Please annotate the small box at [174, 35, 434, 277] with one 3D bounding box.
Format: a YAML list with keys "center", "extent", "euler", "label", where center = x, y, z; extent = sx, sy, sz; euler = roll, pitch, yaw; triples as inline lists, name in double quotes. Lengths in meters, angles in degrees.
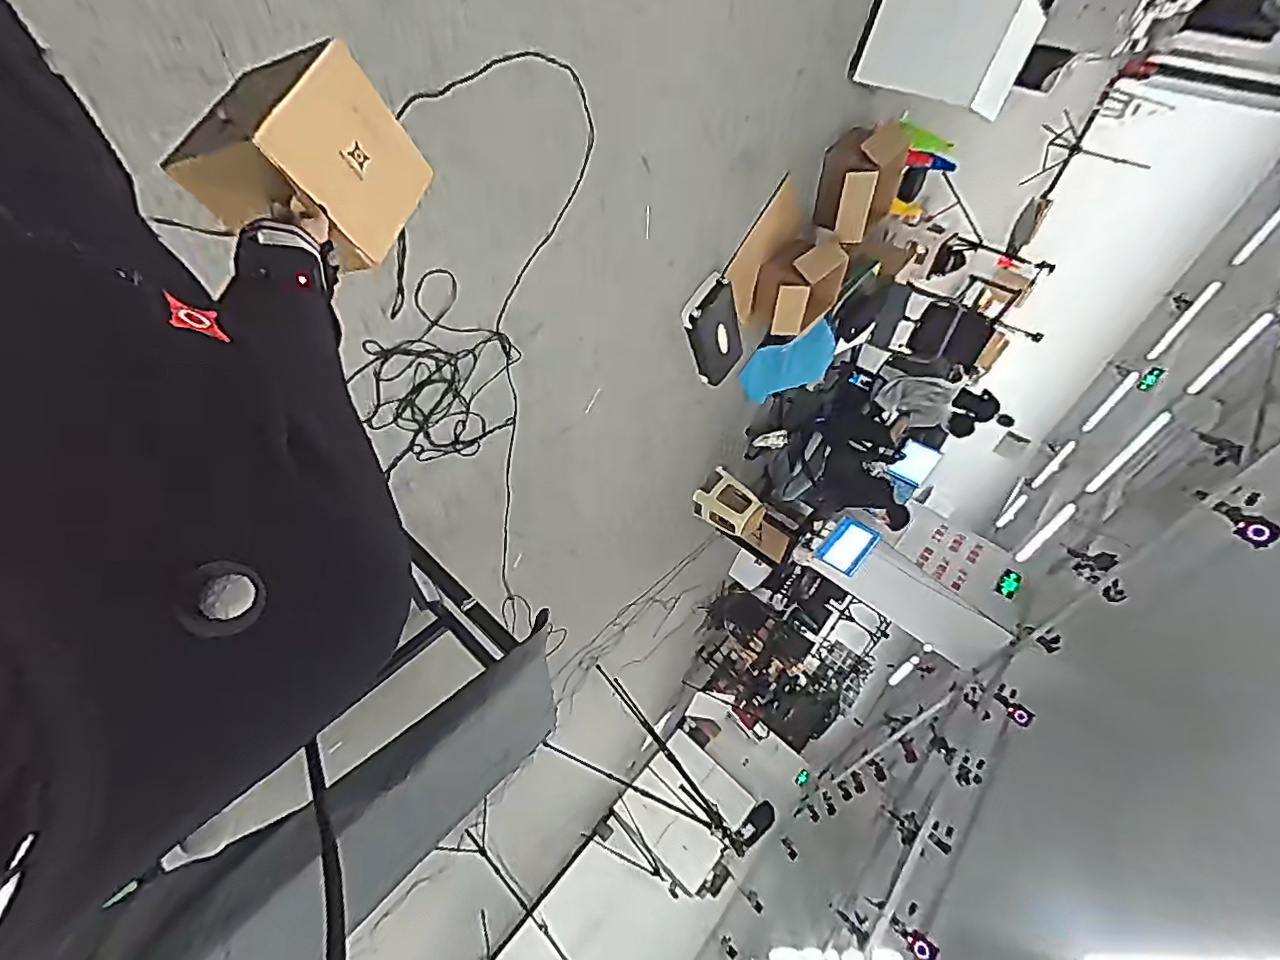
- center: [-0.387, -0.362, 0.634]
  extent: [0.168, 0.176, 0.179]
  euler: [53, 46, -56]
  label: "small box"
